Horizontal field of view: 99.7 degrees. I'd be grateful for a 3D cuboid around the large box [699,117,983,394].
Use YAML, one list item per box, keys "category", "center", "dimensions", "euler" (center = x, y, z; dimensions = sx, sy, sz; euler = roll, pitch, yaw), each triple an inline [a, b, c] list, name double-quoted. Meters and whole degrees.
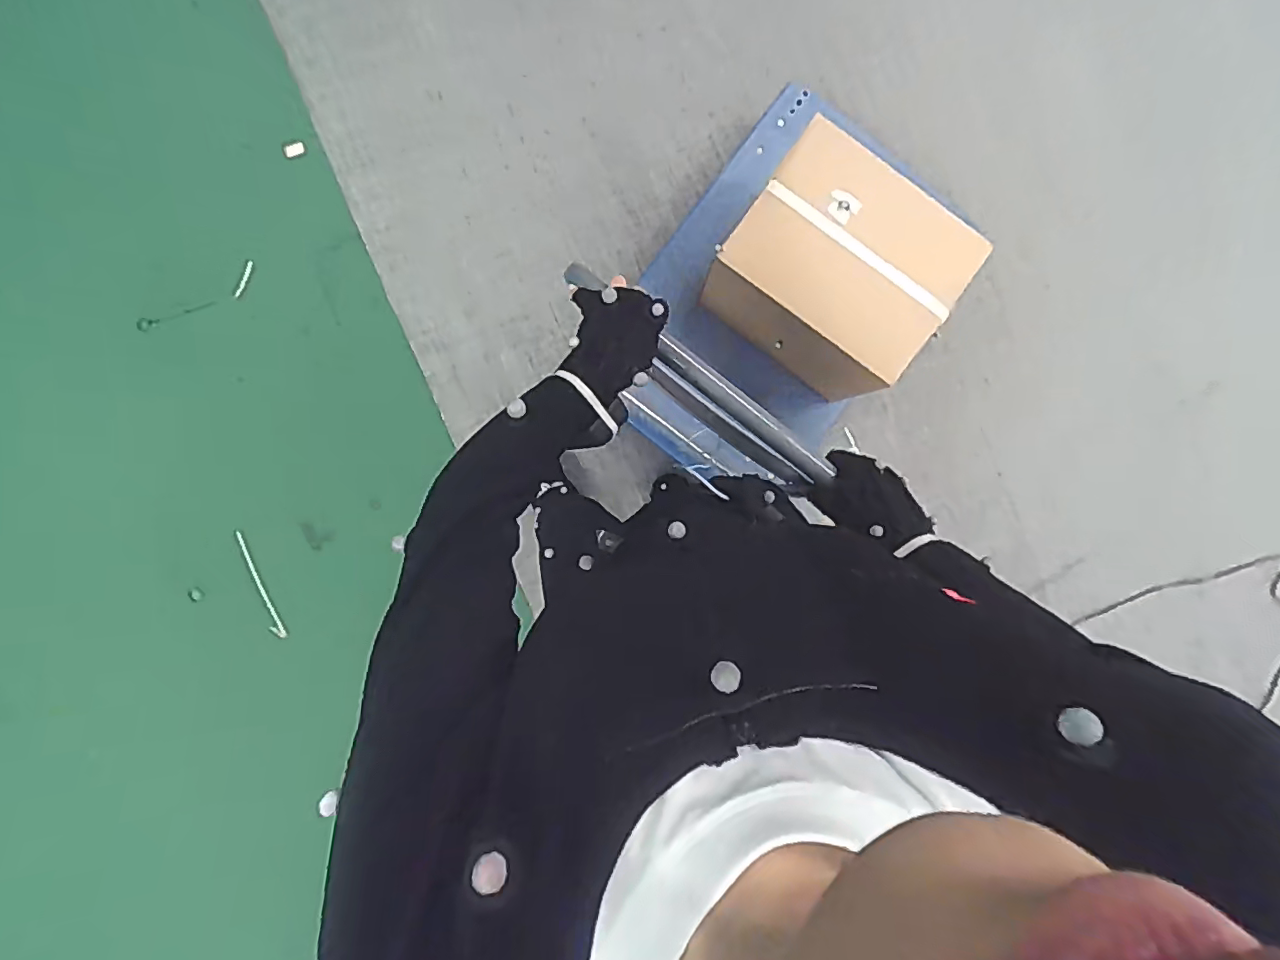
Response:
- category: "large box"
  center: [0.380, -0.426, 1.130]
  dimensions: [0.408, 0.320, 0.320]
  euler: [36, 92, 0]
